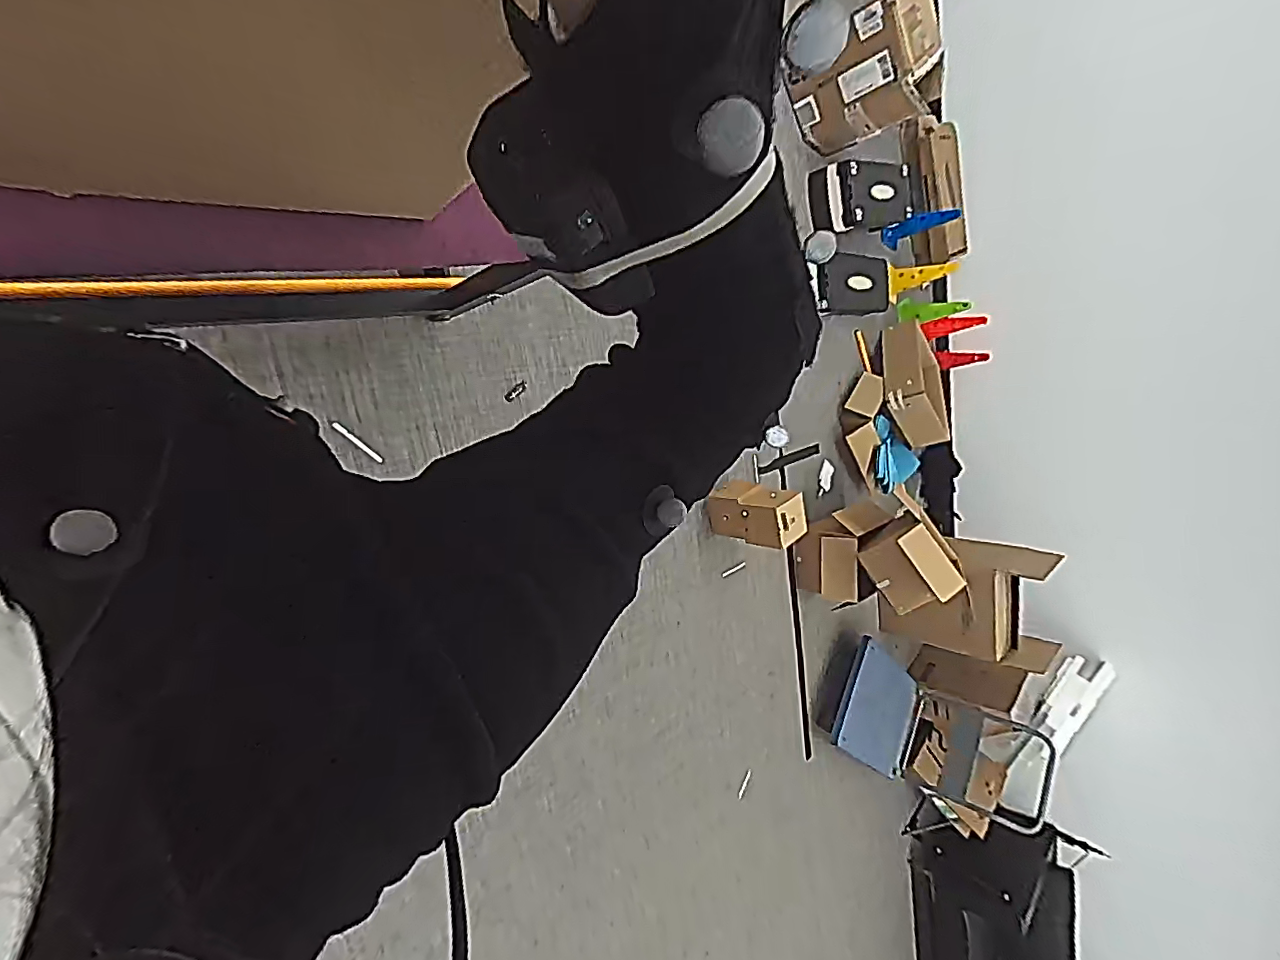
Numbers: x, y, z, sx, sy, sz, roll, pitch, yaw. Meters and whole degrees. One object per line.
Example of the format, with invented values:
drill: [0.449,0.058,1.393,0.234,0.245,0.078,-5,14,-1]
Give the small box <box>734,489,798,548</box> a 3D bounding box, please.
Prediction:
small box: [0.471,0.139,2.048,0.179,0.176,0.168,-26,111,-39]
